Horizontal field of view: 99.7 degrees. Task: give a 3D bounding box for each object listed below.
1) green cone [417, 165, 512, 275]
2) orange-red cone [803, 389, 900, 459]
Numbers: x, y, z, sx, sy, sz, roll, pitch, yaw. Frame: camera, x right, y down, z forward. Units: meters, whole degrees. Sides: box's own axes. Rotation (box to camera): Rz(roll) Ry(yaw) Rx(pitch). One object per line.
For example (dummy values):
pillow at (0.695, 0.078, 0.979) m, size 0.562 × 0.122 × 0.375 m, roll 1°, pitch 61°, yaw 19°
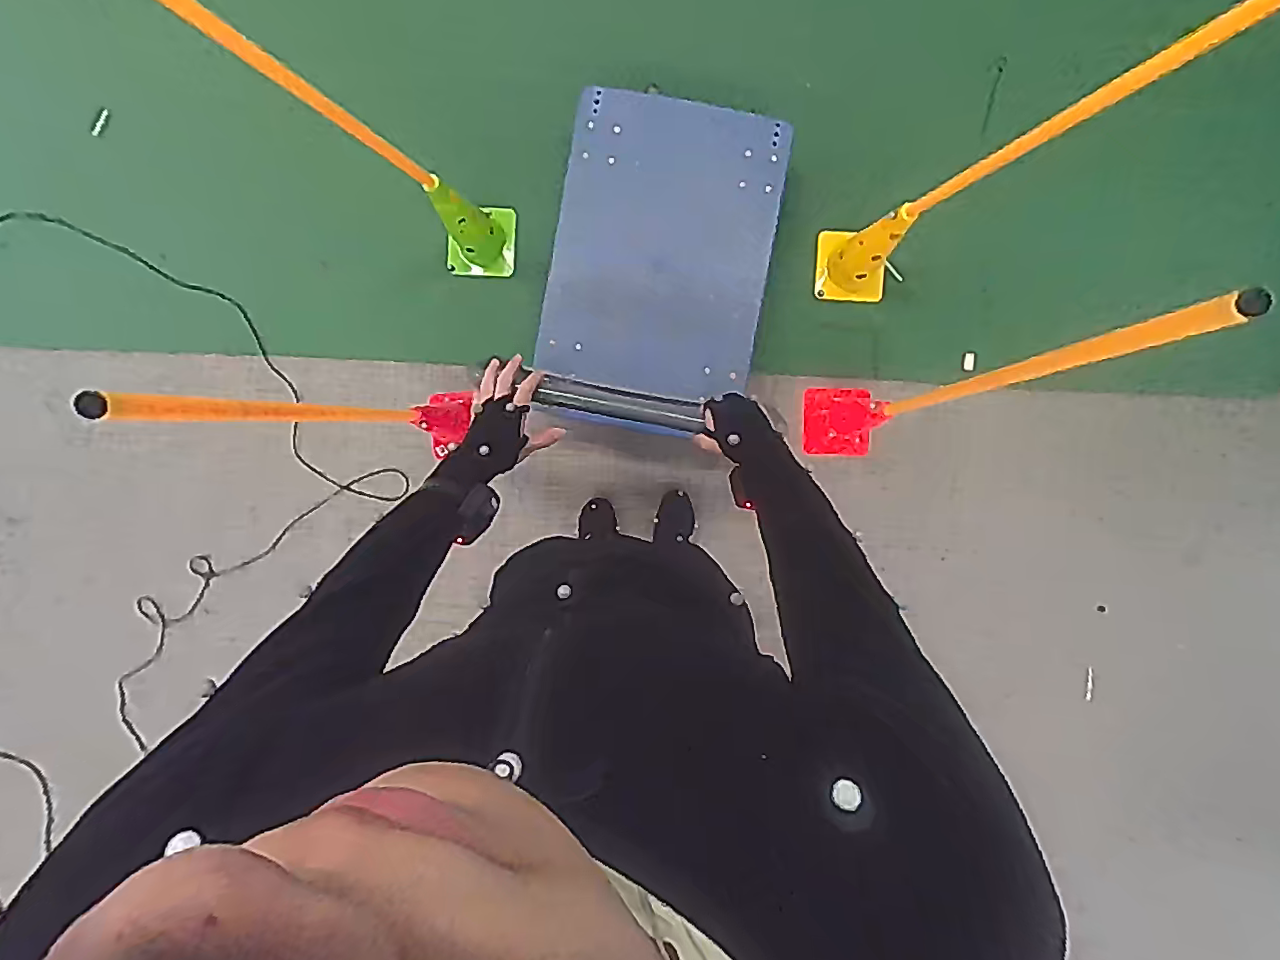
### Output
green cone at (-0.482, -0.699, 1.414) m, size 0.200 × 0.368 × 0.202 m, roll 3°, pitch 91°, yaw 1°
orange-red cone at (0.580, -0.164, 1.420) m, size 0.198 × 0.360 × 0.199 m, roll 3°, pitch 90°, yaw 0°
